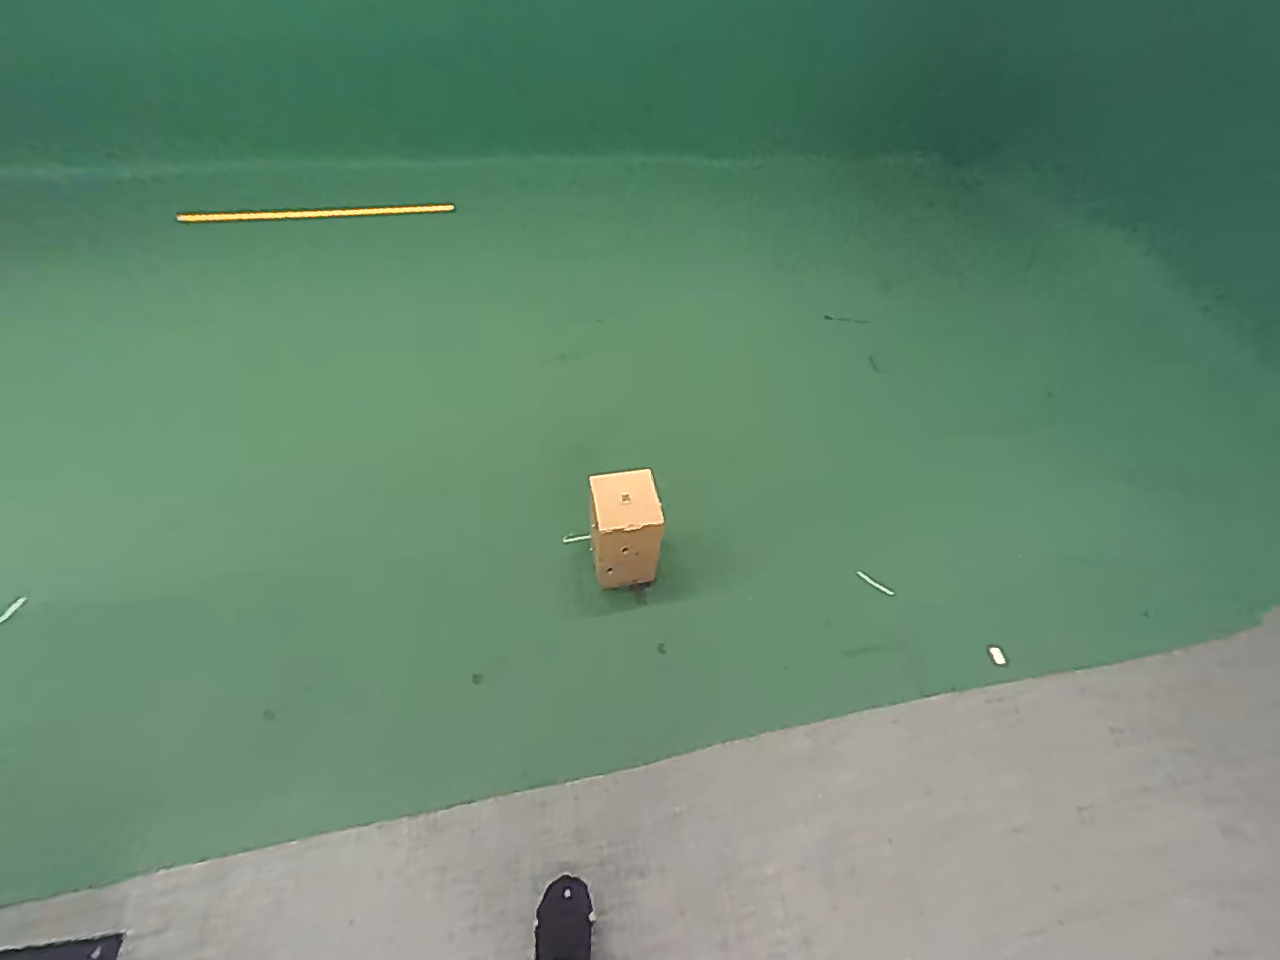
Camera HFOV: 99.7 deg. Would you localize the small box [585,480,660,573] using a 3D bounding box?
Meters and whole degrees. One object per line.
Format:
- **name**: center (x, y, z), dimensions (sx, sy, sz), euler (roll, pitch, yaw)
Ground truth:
- **small box**: center (-0.054, 0.125, 1.442), dimensions (0.168, 0.176, 0.179), euler (-6, 54, -12)
